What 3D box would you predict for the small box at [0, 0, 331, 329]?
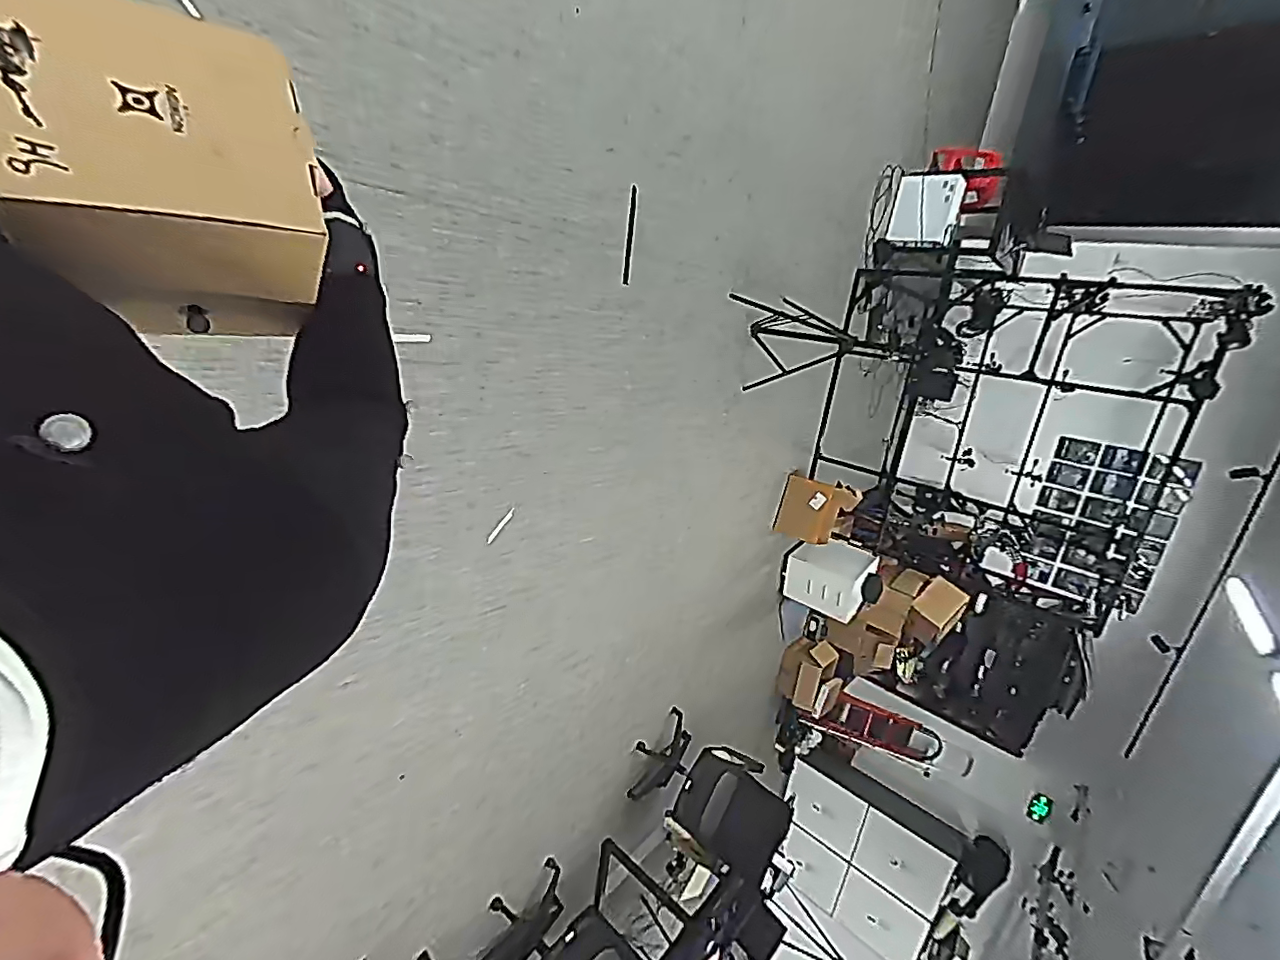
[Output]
[{"bbox_3d":[-0.375,-0.236,0.440,0.179,0.176,0.168,-11,82,-38],"label":"small box"}]
